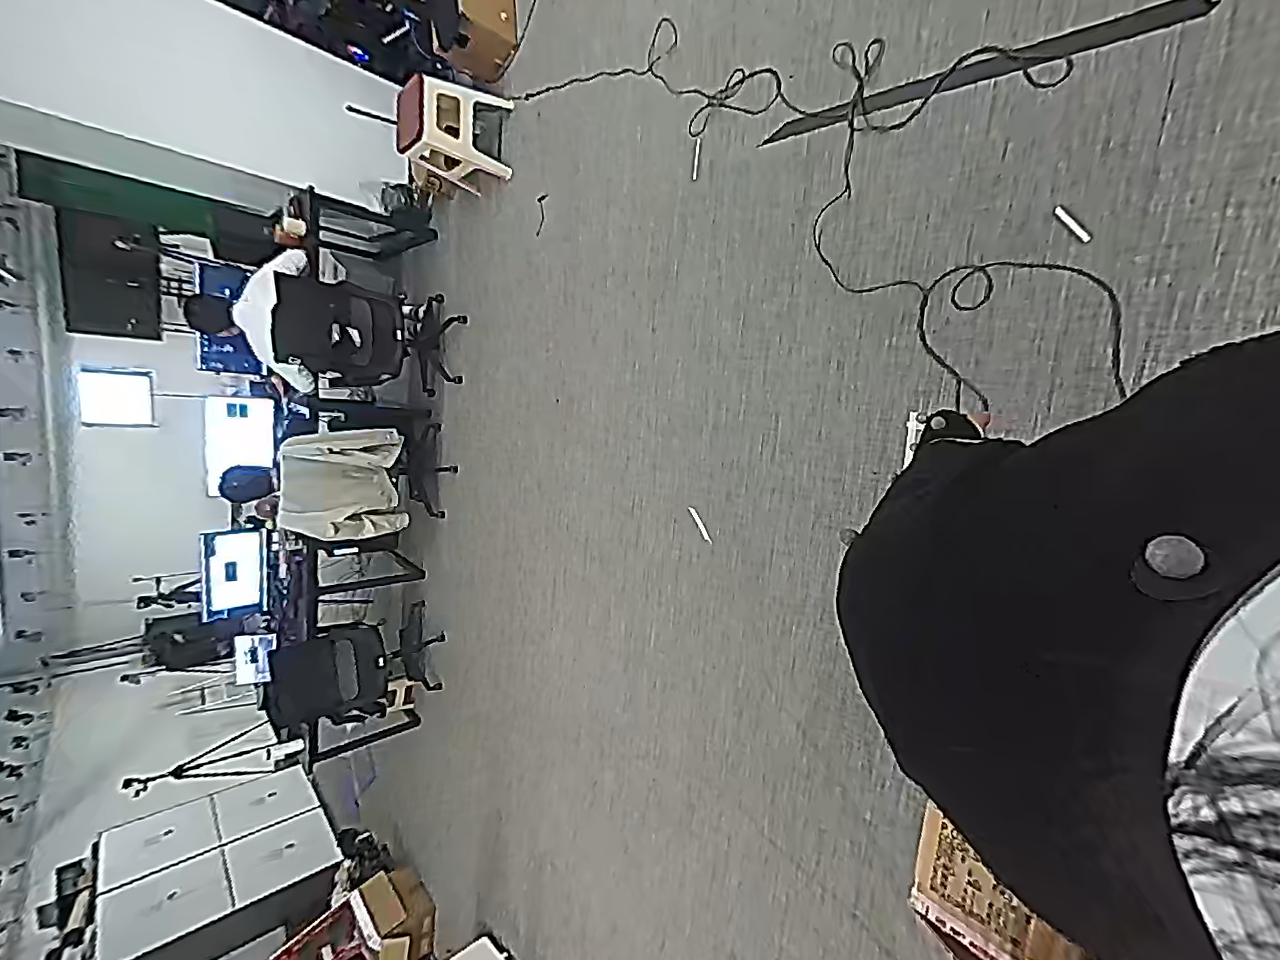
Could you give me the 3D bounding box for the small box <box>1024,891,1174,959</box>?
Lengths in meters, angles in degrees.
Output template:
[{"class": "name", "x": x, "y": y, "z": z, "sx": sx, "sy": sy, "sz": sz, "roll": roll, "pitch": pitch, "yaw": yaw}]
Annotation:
[{"class": "small box", "x": 0.645, "y": 0.752, "z": 0.766, "sx": 0.168, "sy": 0.176, "sz": 0.179, "roll": 13, "pitch": 99, "yaw": 44}]
